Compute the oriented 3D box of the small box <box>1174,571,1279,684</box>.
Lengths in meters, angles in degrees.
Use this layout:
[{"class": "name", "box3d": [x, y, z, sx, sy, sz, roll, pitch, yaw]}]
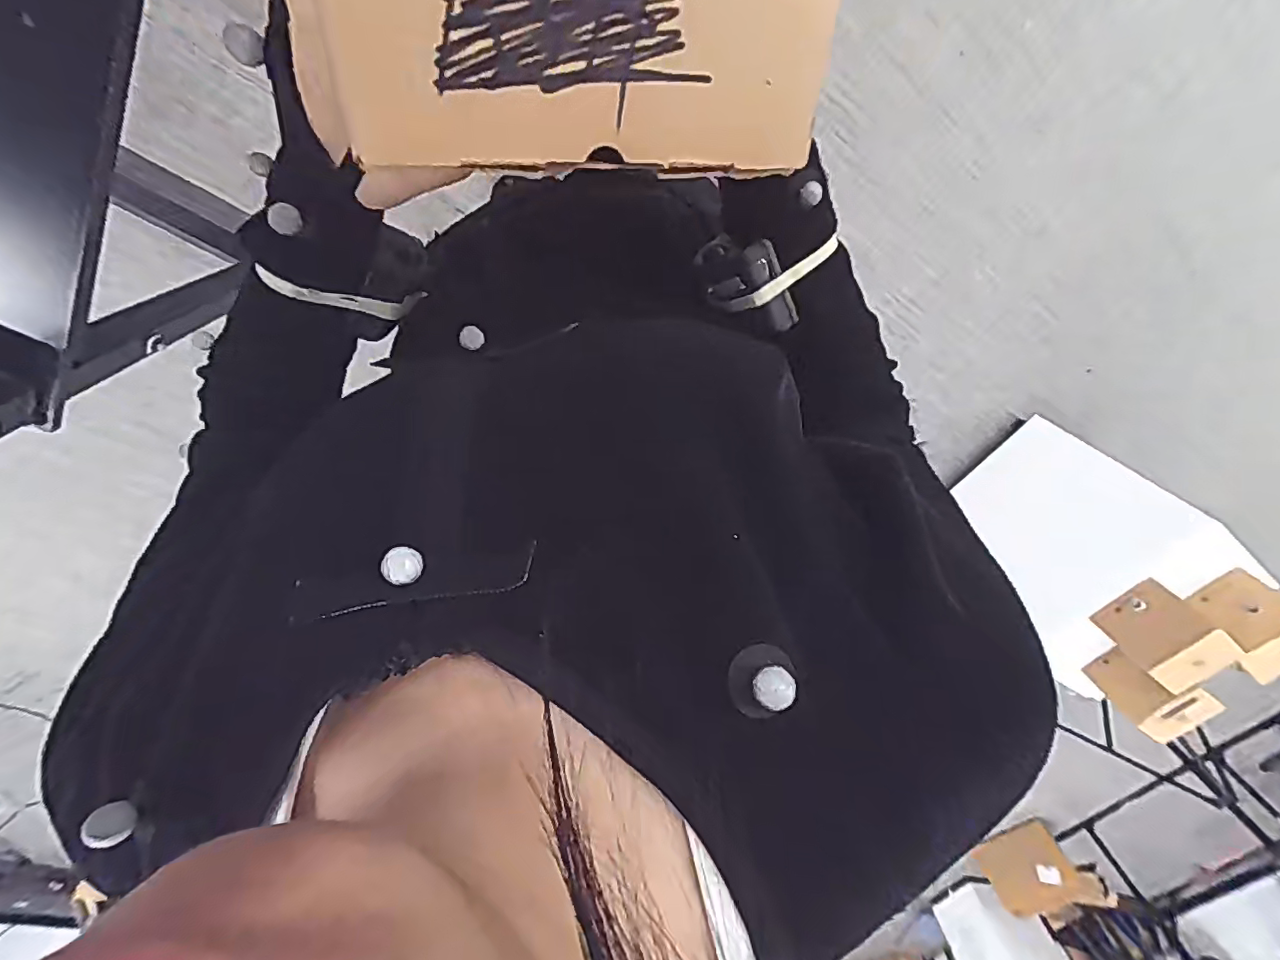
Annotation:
[{"class": "small box", "box3d": [1.440, 0.343, 1.281, 0.179, 0.176, 0.168, 32, 114, -25]}]
